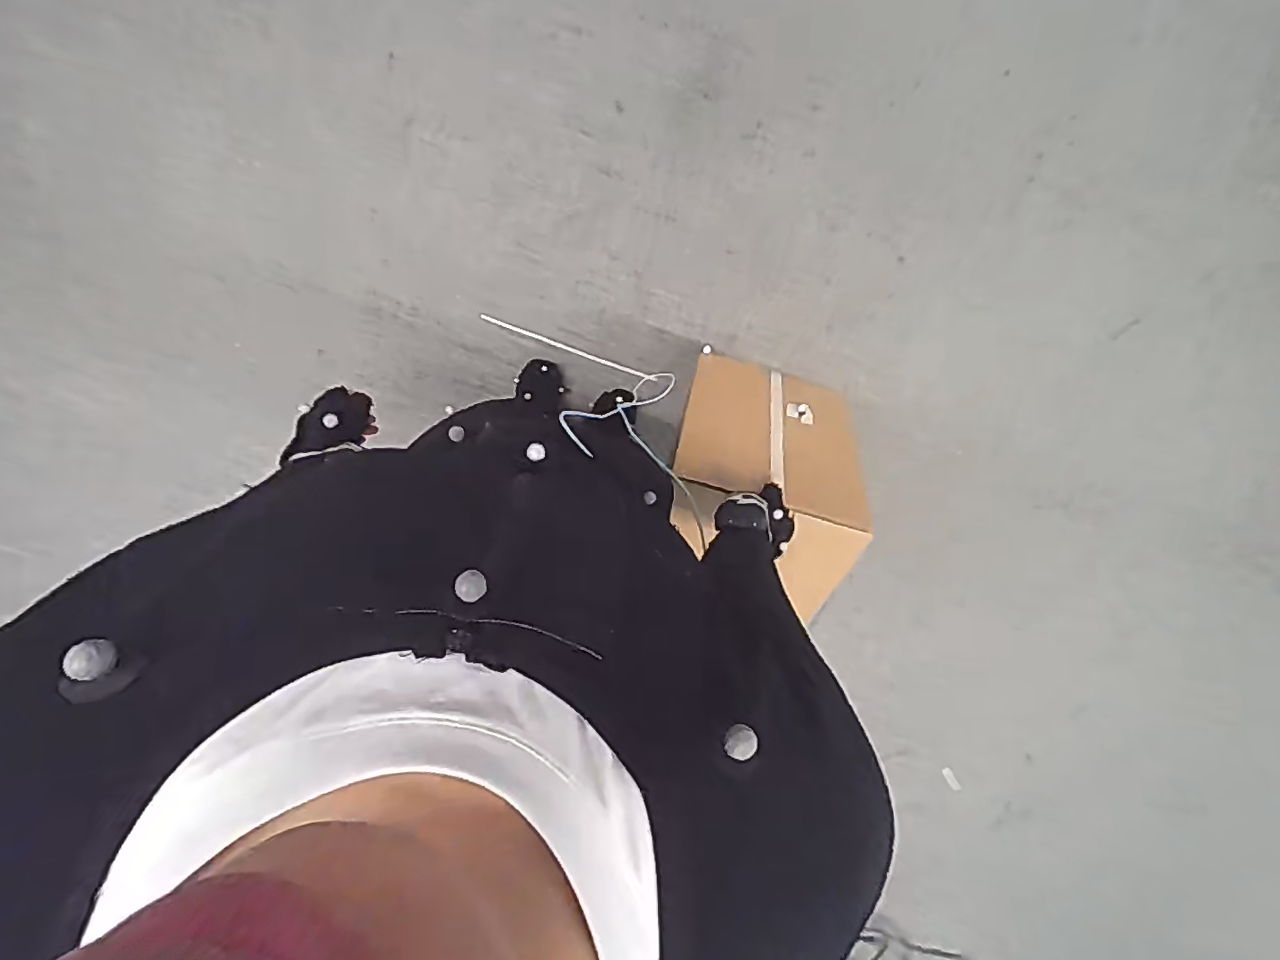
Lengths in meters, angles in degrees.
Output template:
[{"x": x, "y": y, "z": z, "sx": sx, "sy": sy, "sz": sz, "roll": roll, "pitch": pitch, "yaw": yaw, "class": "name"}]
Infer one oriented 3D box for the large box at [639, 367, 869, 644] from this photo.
[{"x": 0.201, "y": 0.039, "z": 1.053, "sx": 0.320, "sy": 0.408, "sz": 0.320, "roll": 16, "pitch": 130, "yaw": 0, "class": "large box"}]
